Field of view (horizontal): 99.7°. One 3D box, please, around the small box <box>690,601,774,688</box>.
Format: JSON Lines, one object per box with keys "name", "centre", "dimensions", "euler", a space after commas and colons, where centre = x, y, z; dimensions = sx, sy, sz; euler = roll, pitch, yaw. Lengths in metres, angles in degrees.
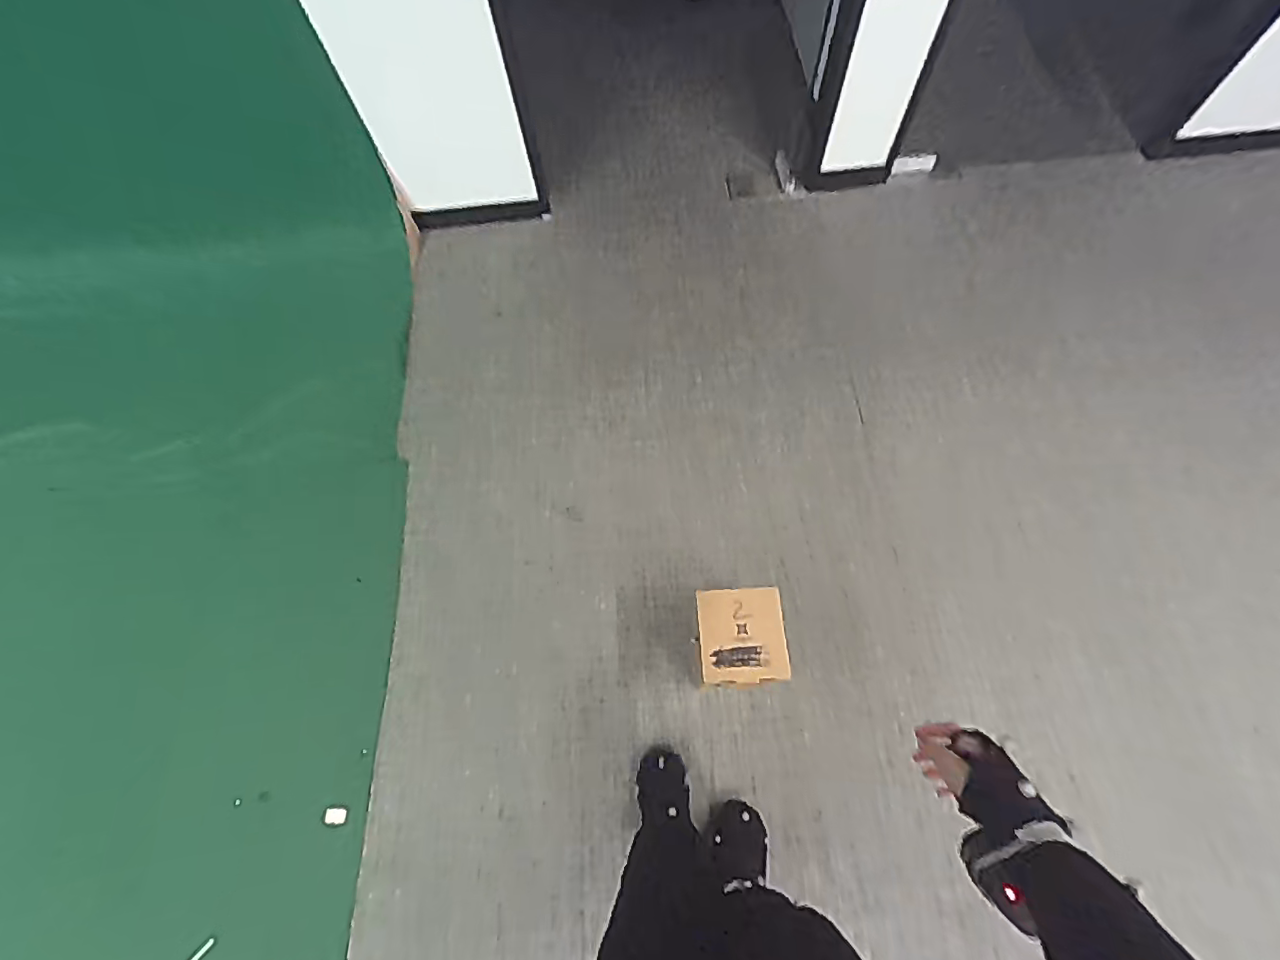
{"name": "small box", "centre": [0.209, 0.392, 1.275], "dimensions": [0.168, 0.176, 0.179], "euler": [-4, 67, 1]}
